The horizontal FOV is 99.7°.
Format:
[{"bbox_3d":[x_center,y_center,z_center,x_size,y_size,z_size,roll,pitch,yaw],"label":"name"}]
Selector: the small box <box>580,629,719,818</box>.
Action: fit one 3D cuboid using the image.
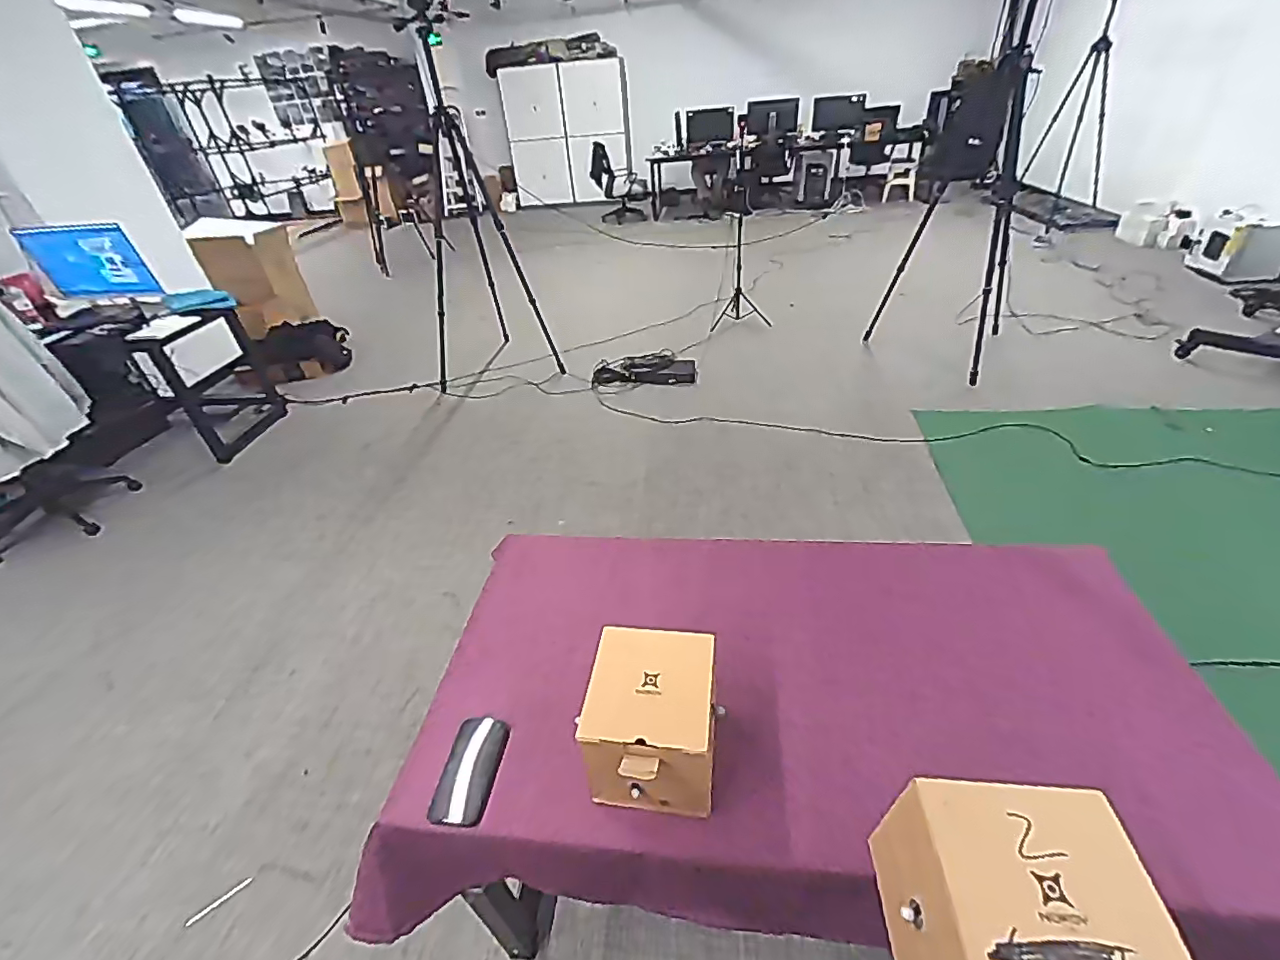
[{"bbox_3d":[0.022,0.340,0.766,0.168,0.176,0.179,2,37,10],"label":"small box"}]
